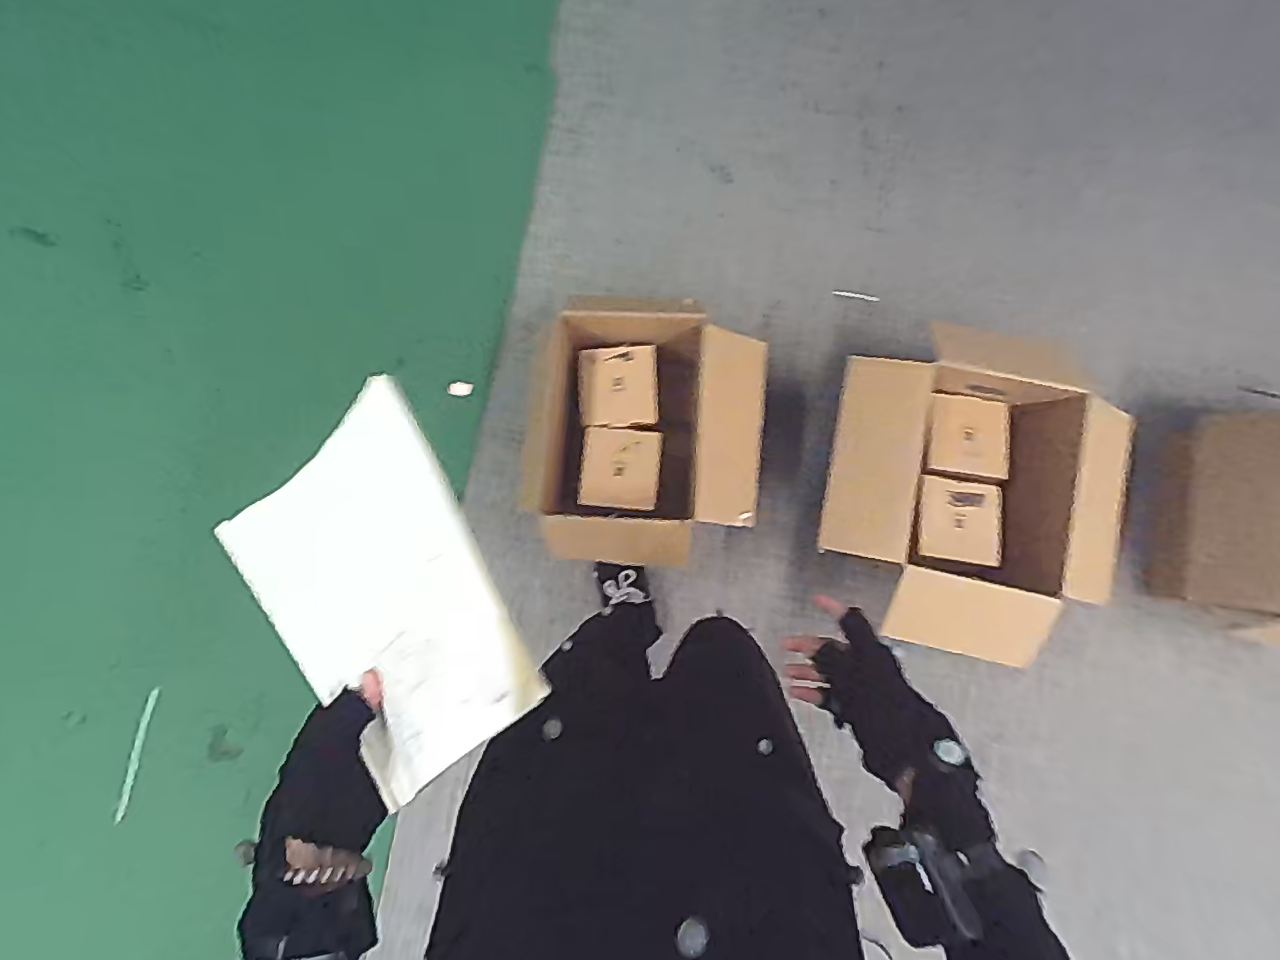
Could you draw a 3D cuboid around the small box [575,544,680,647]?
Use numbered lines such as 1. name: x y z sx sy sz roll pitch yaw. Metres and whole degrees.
1. small box: -0.031 0.263 1.262 0.179 0.176 0.168 26 96 18
